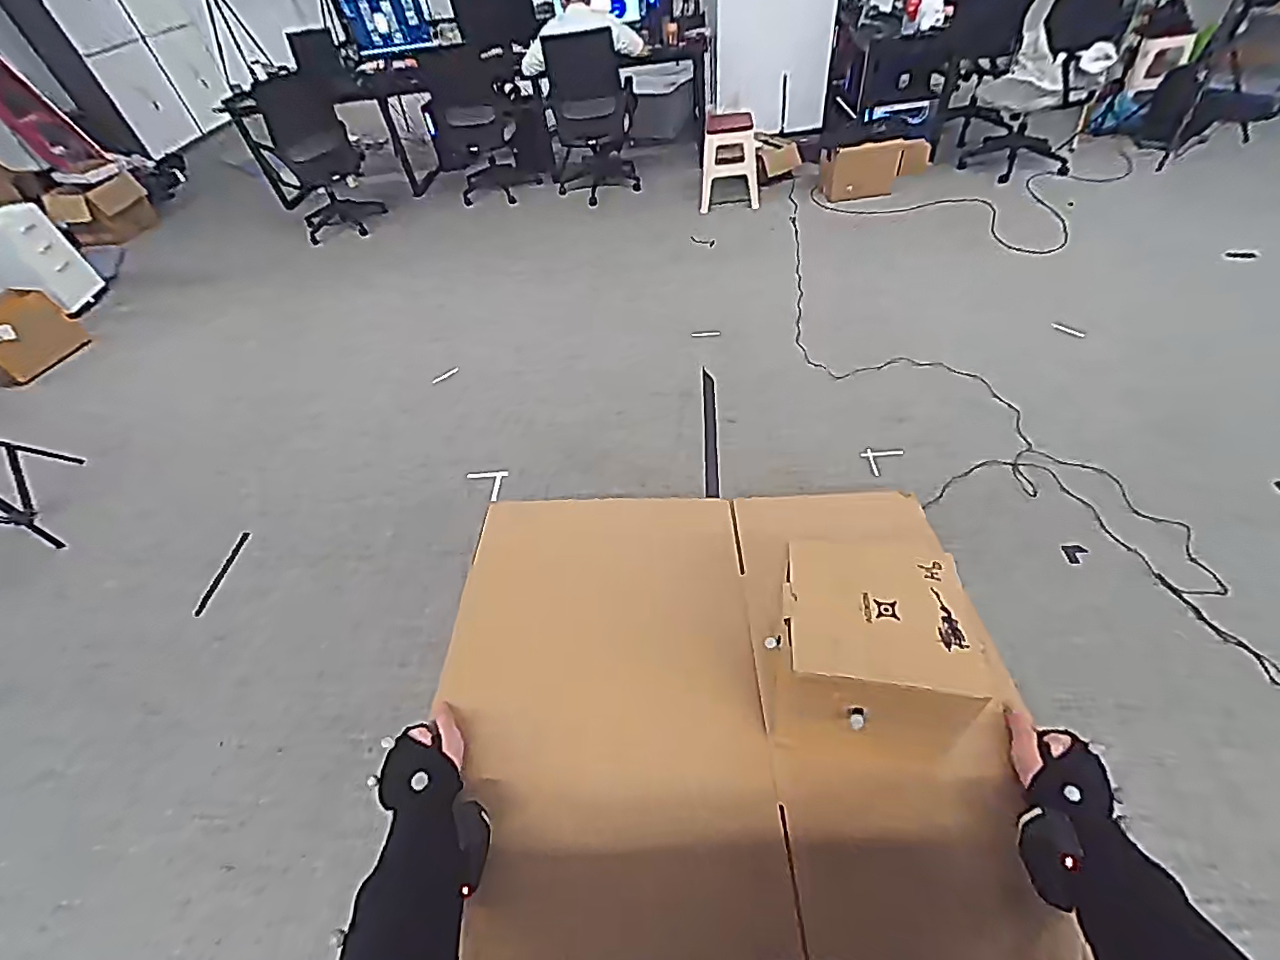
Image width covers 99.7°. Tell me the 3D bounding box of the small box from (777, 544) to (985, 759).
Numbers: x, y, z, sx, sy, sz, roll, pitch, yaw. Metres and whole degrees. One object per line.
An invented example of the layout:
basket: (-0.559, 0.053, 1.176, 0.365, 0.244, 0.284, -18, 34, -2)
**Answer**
small box: (0.249, 0.193, 0.611, 0.179, 0.176, 0.168, 3, 44, 11)
